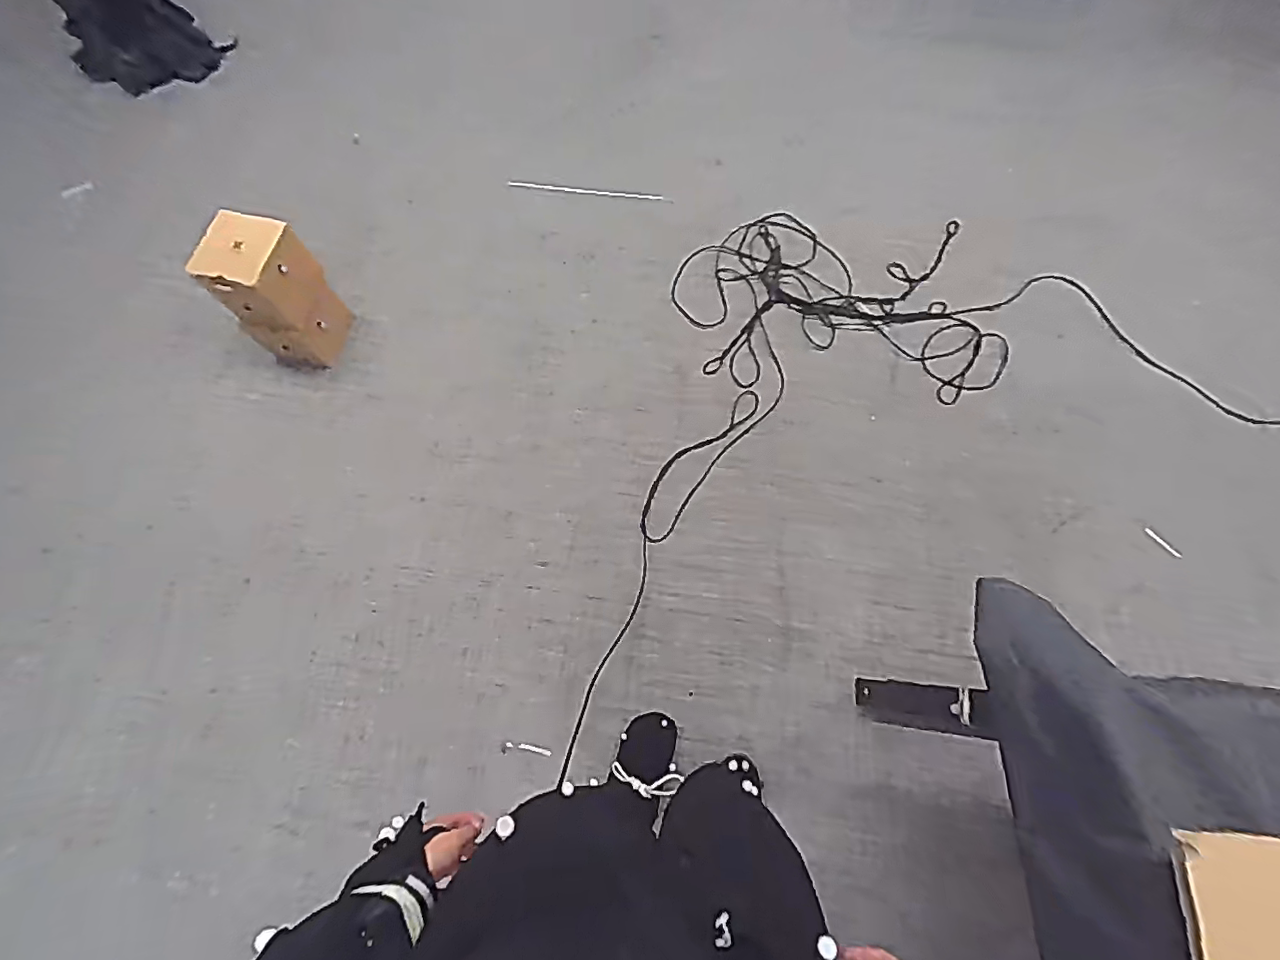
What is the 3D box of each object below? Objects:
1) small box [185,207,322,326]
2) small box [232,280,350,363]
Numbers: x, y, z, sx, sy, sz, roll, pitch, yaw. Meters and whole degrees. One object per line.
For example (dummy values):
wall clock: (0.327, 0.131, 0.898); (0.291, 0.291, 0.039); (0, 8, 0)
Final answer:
small box: (-0.882, -0.490, 1.257); (0.168, 0.176, 0.179); (12, 73, 4)
small box: (-0.896, -0.429, 1.409); (0.168, 0.176, 0.179); (12, 73, 4)
